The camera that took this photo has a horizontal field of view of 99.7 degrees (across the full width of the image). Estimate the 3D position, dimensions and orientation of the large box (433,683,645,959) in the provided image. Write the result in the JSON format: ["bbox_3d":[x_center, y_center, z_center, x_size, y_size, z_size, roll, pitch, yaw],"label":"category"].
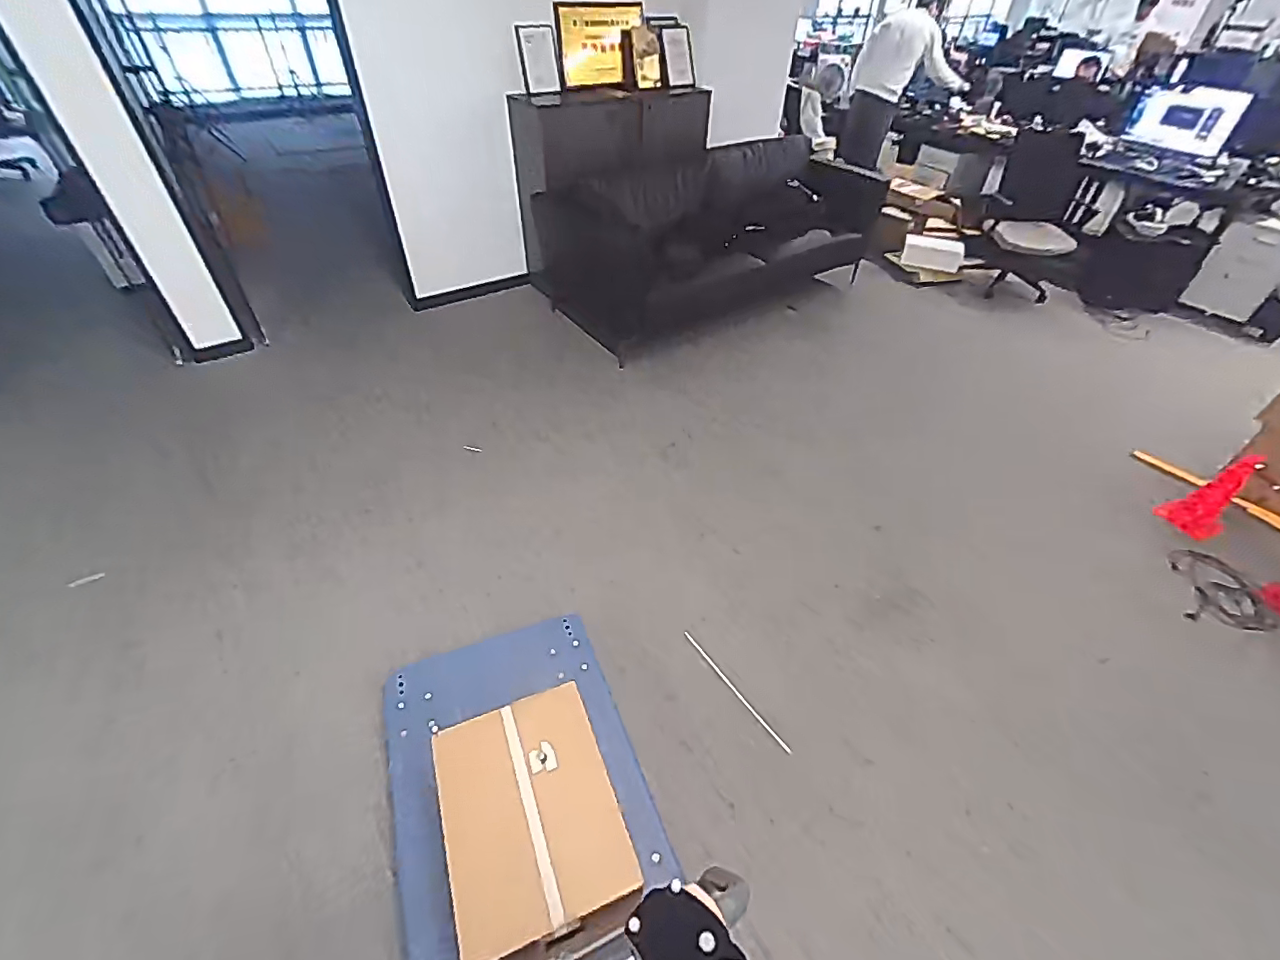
[{"bbox_3d":[-0.208,0.722,1.124,0.320,0.320,0.408,-15,44,-18],"label":"large box"}]
